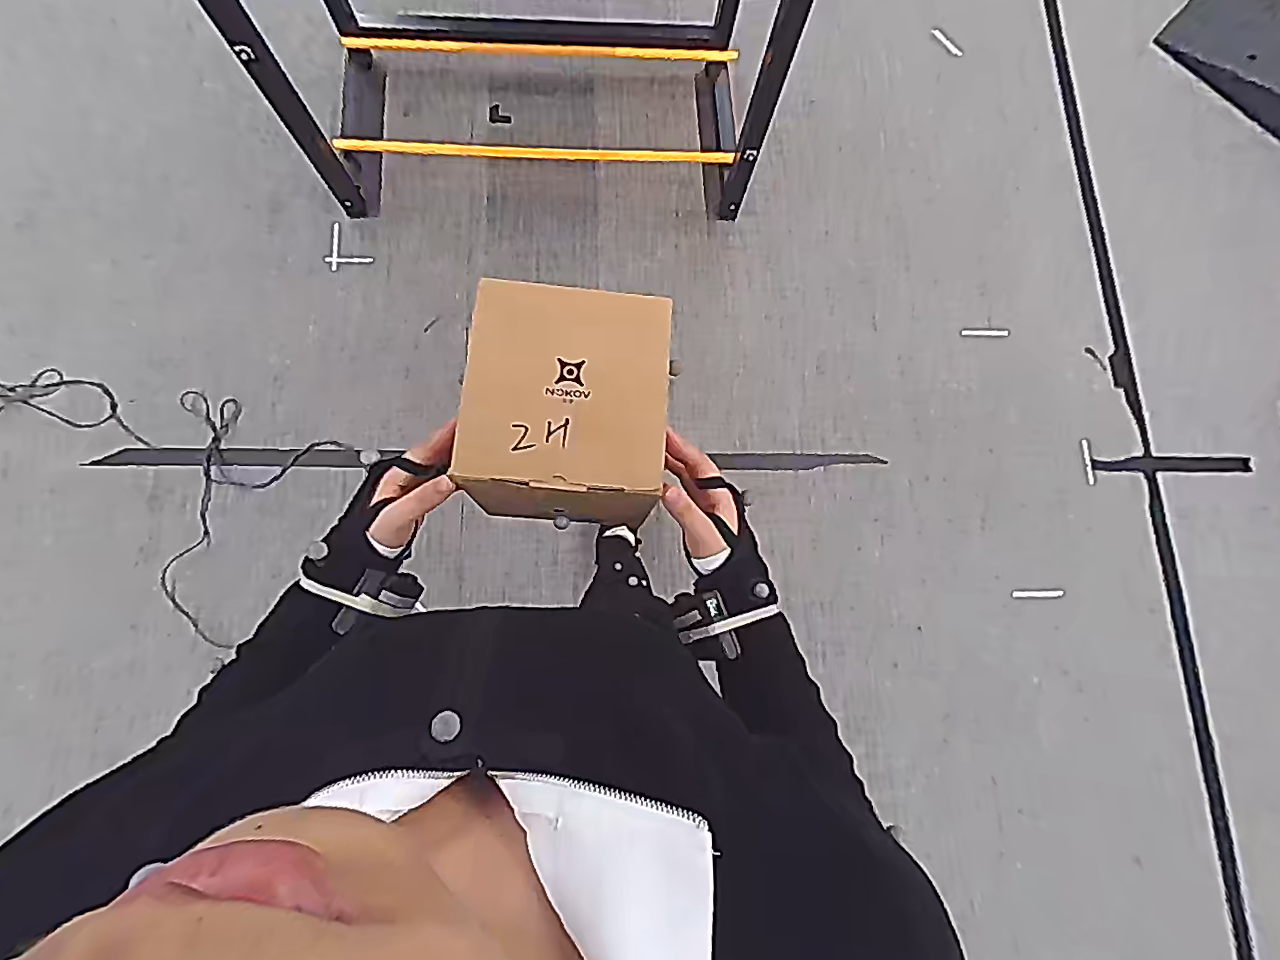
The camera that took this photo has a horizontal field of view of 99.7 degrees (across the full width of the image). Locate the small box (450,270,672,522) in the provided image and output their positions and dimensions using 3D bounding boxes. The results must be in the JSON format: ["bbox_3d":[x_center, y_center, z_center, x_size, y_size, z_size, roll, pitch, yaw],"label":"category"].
[{"bbox_3d":[-0.067,-0.066,0.515,0.168,0.176,0.179,5,75,-4],"label":"small box"}]
